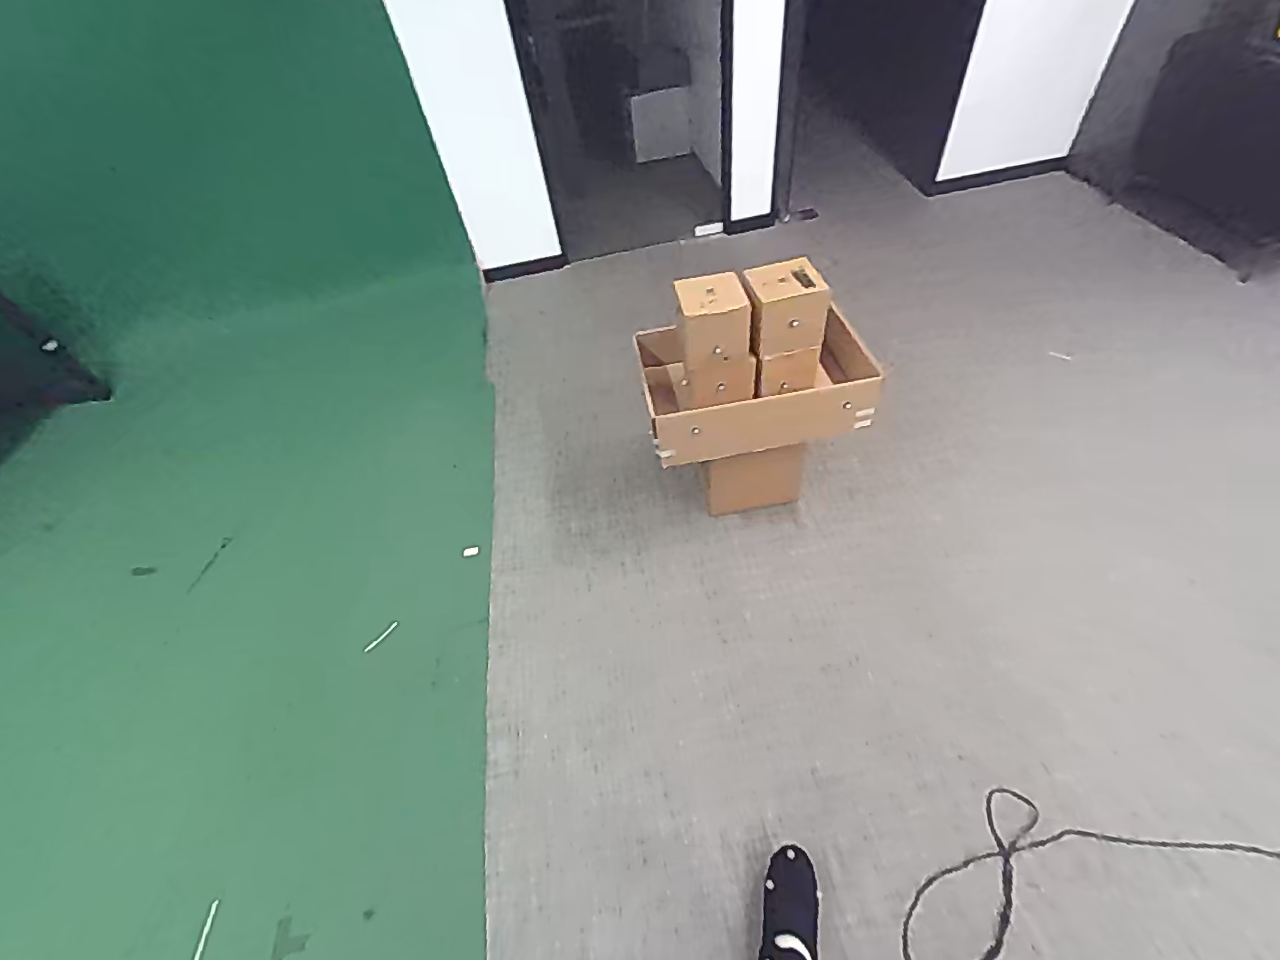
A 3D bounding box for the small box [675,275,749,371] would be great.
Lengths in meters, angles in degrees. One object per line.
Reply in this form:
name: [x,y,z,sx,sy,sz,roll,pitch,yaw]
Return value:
small box: [0.186,-0.416,1.439,0.168,0.176,0.179,-9,49,0]
